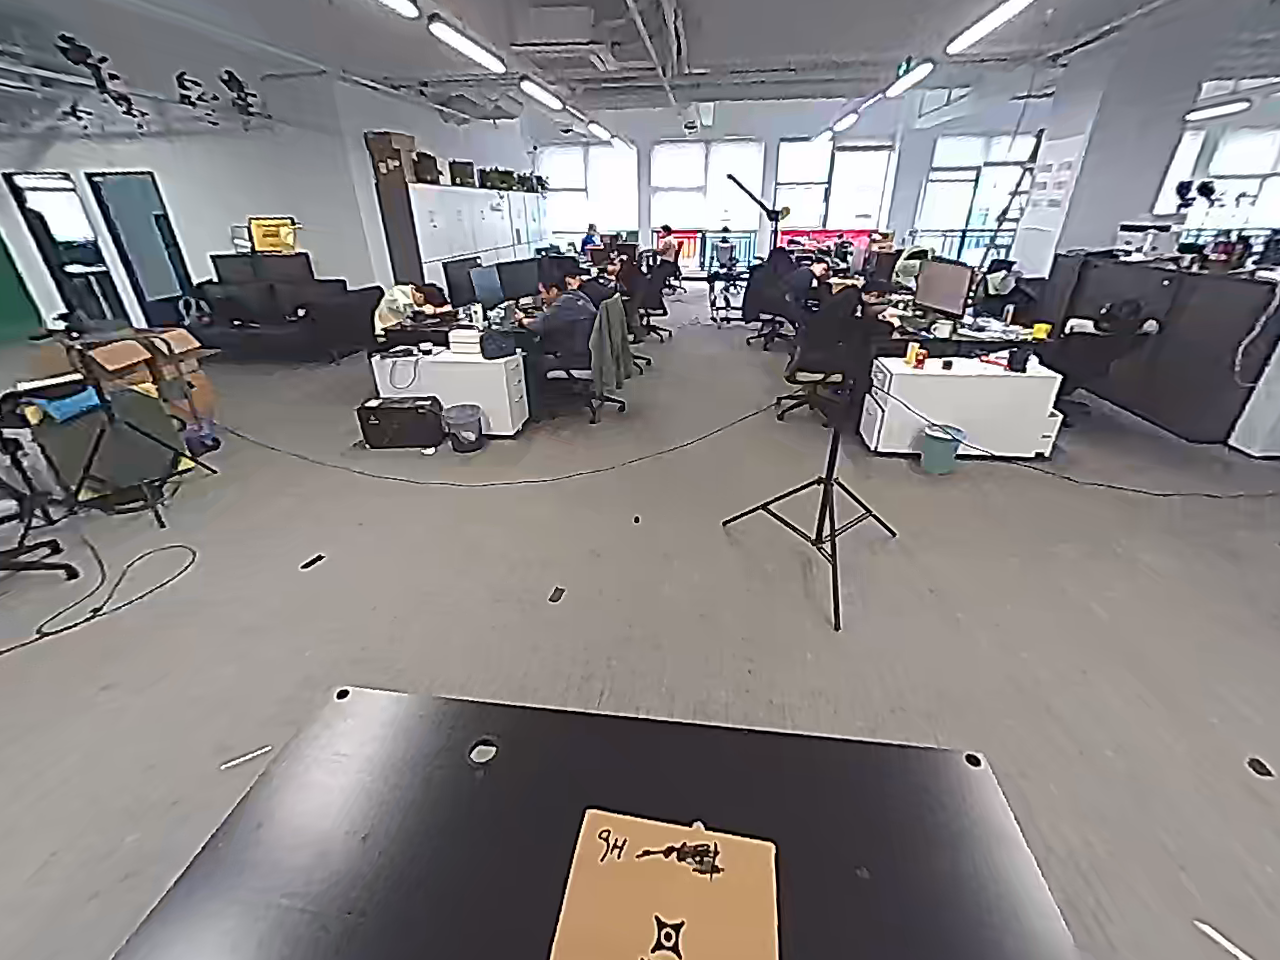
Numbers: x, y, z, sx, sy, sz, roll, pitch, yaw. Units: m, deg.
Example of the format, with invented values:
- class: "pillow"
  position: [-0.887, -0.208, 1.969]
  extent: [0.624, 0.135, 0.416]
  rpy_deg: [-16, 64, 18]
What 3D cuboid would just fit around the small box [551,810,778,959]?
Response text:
- class: "small box"
  position: [0.020, 0.411, 0.440]
  extent: [0.168, 0.176, 0.179]
  rpy_deg: [5, 35, 8]
